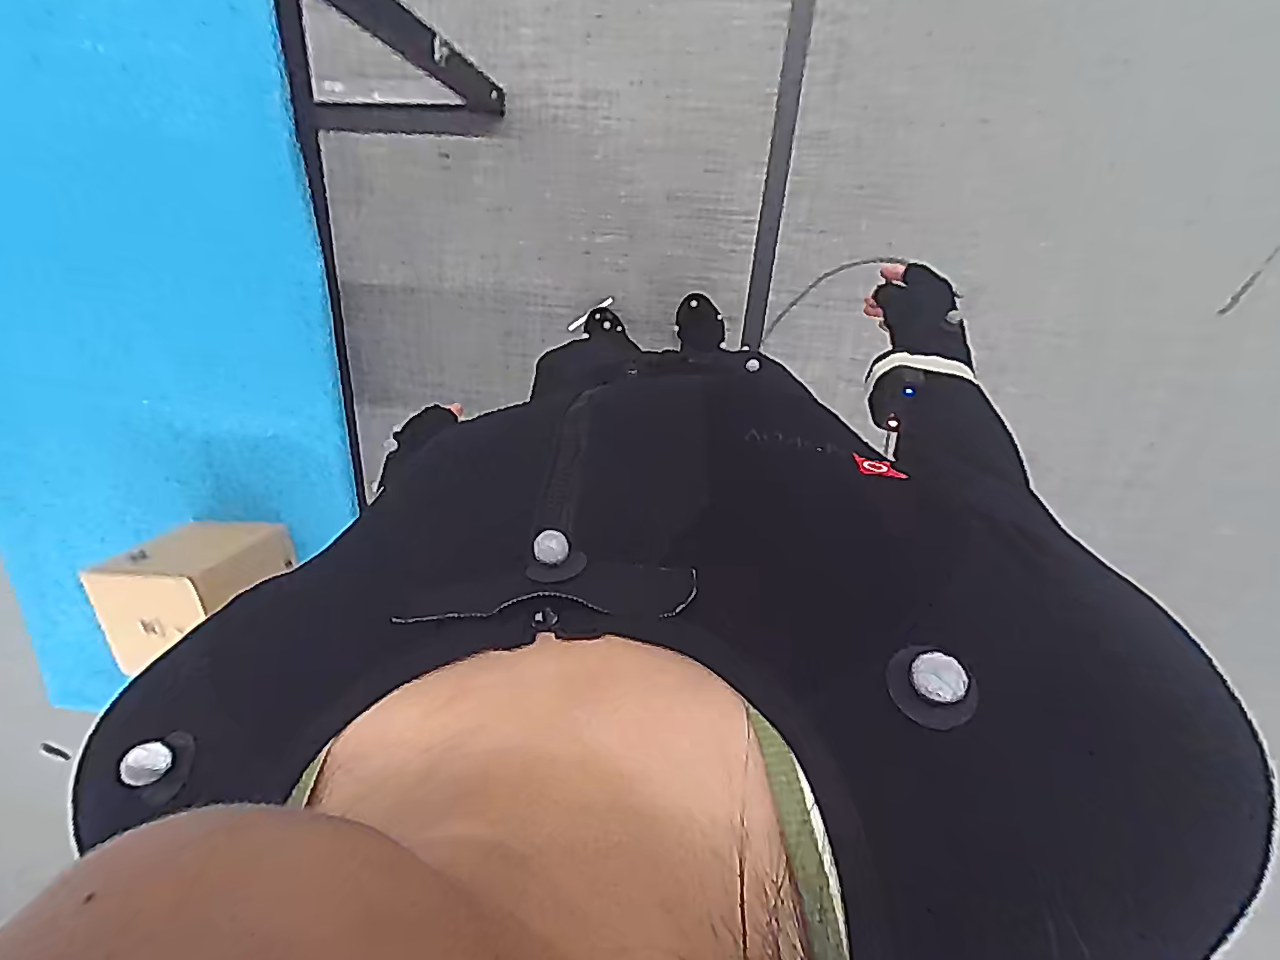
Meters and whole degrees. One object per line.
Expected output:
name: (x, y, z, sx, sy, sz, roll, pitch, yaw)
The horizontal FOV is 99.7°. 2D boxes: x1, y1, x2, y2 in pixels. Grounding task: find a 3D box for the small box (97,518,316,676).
small box: (-0.637, 0.167, 0.819, 0.179, 0.176, 0.168, 3, 112, 5)
